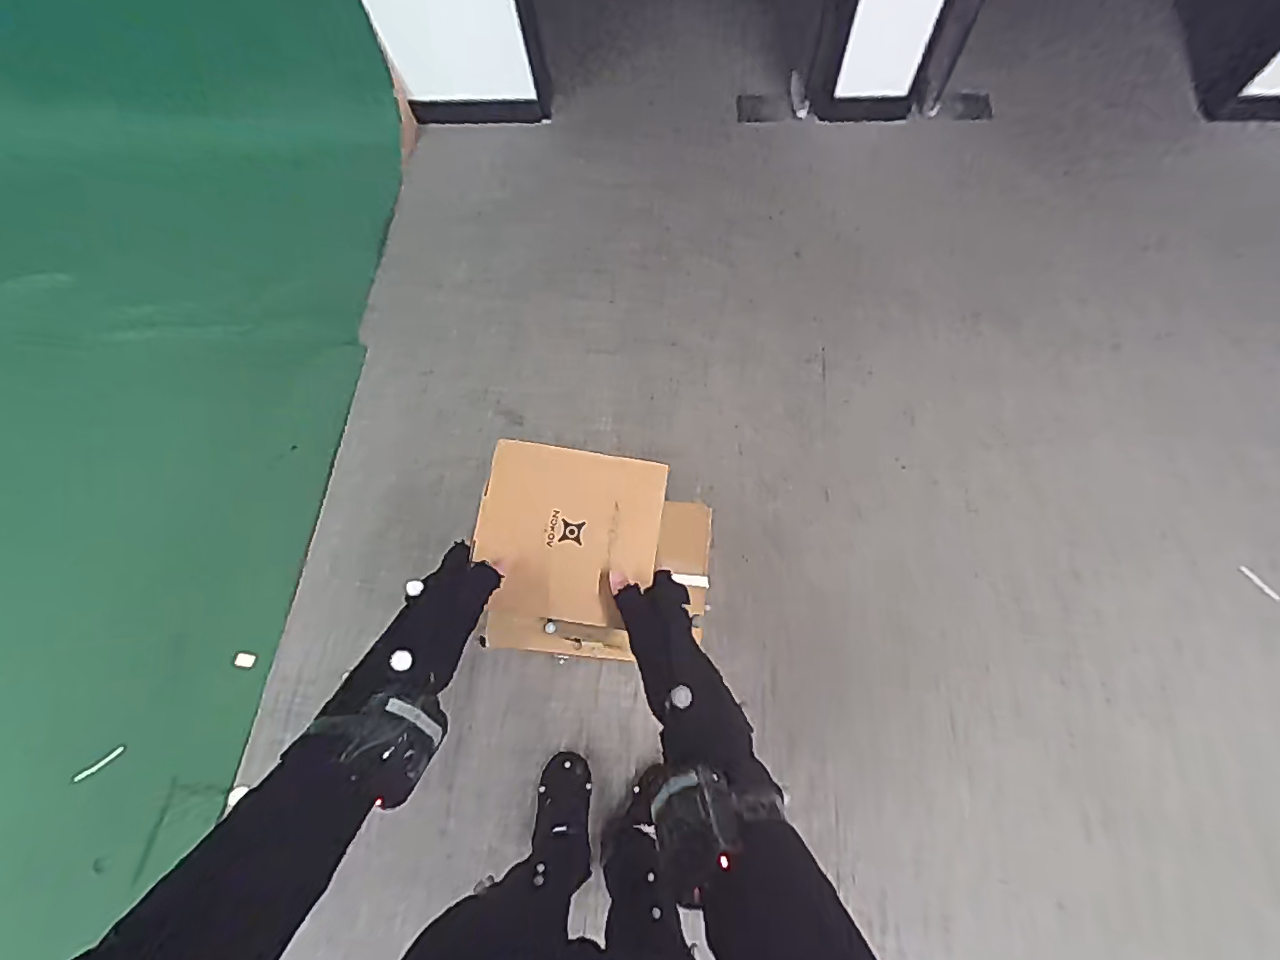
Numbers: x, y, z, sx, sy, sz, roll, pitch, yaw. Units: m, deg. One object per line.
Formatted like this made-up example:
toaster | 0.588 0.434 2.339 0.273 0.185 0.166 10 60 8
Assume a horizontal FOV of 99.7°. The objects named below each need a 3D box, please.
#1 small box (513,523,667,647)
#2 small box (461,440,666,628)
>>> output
small box | -0.058 0.146 0.784 0.179 0.176 0.168 6 72 9
small box | -0.072 0.067 0.591 0.179 0.176 0.168 7 77 -1
